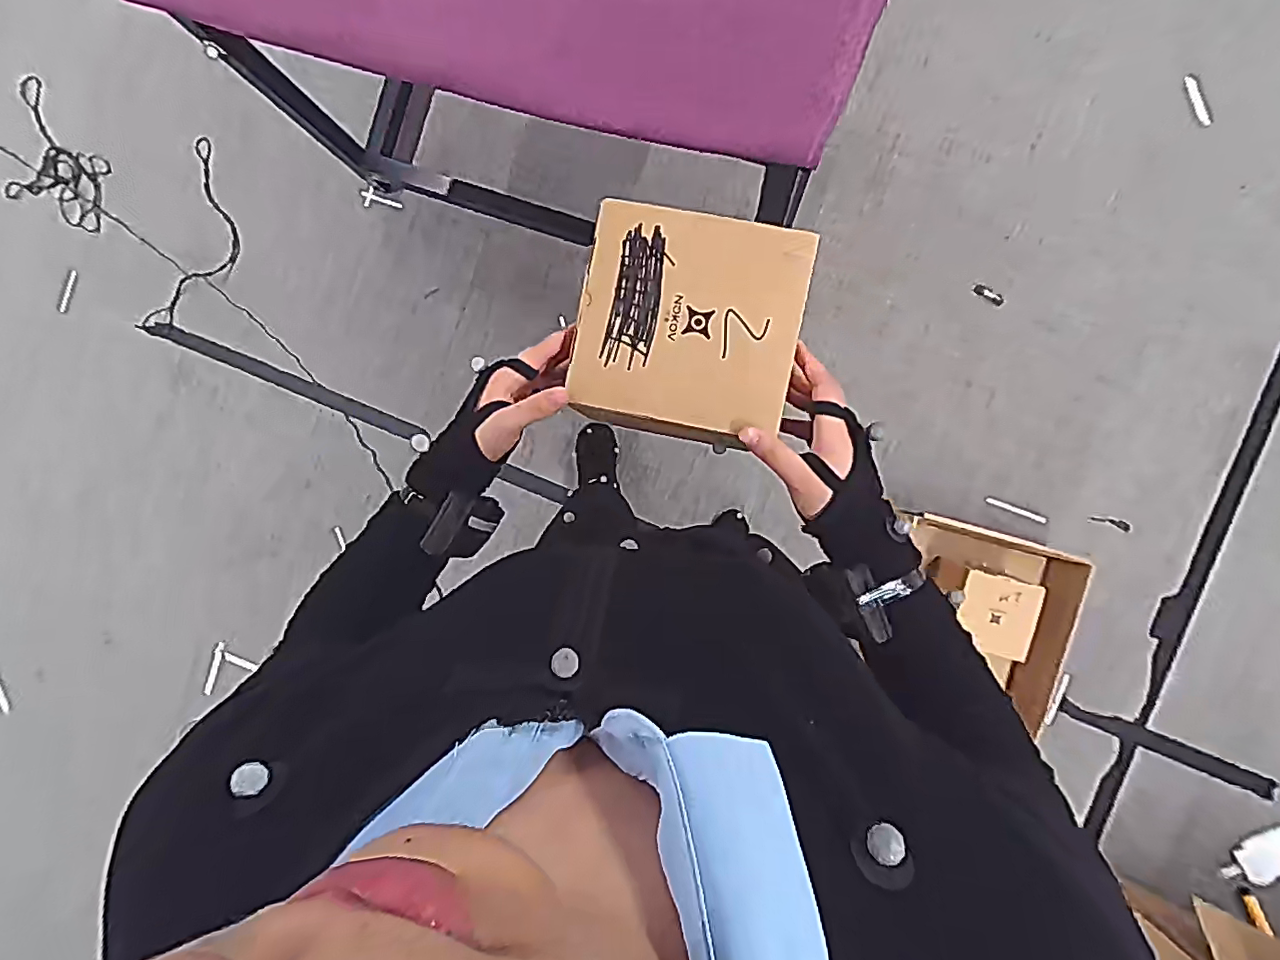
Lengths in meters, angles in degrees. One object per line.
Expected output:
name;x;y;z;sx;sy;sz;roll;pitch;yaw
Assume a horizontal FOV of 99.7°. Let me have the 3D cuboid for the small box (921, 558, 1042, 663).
small box;0.792;0.299;1.277;0.168;0.176;0.179;15;93;5
